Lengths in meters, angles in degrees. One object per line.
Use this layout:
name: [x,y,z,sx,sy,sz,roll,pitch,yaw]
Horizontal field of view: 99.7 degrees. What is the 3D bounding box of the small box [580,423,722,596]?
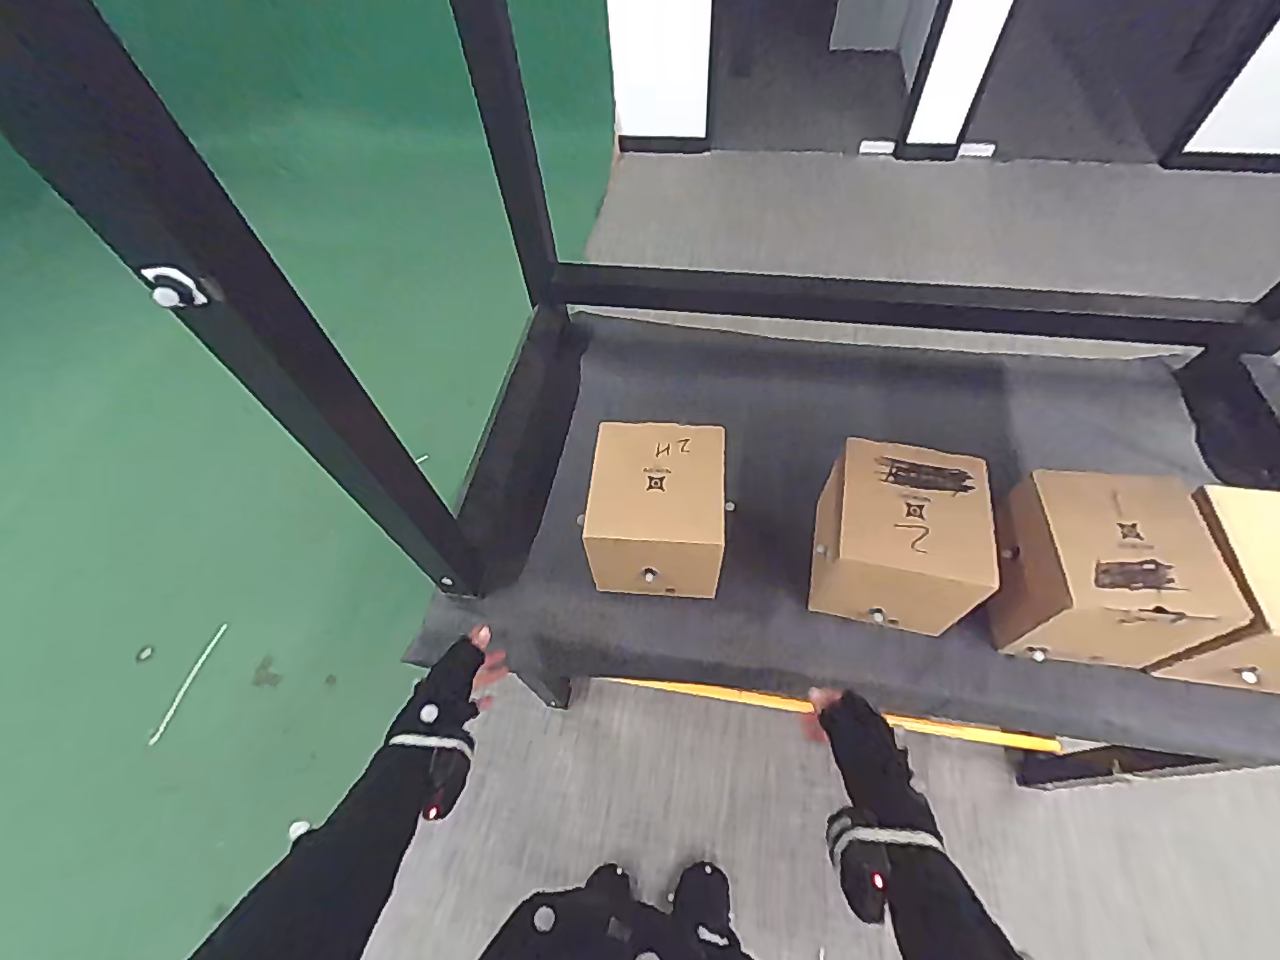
small box: [0.023,0.045,0.731,0.168,0.176,0.179,3,56,5]
